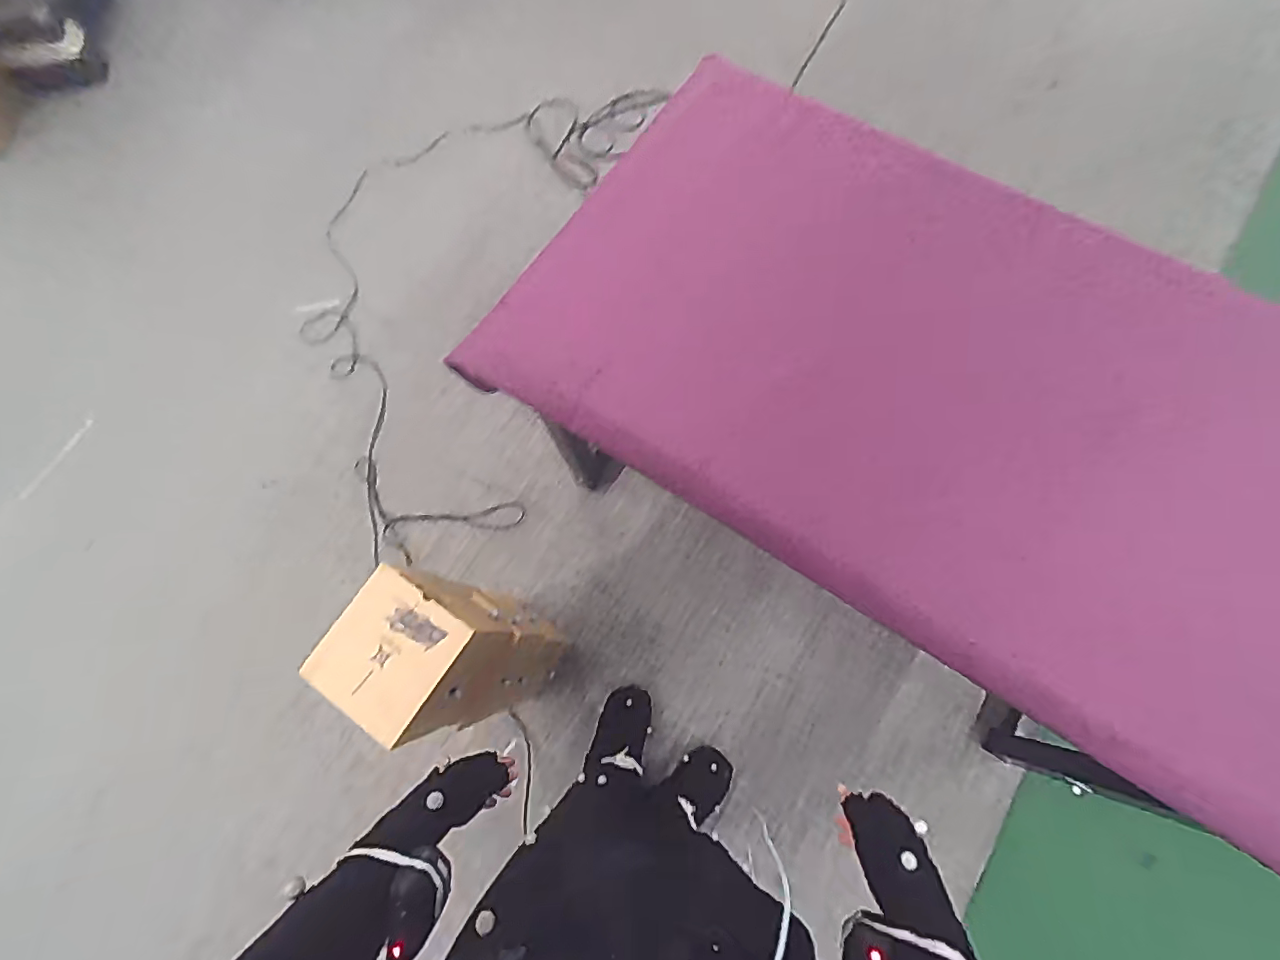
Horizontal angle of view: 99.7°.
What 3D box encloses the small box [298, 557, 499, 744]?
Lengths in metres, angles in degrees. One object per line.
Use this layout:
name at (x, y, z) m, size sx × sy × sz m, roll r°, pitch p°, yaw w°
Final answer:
small box at (-0.326, 0.235, 0.776) m, size 0.168 × 0.176 × 0.179 m, roll 34°, pitch 81°, yaw 12°
